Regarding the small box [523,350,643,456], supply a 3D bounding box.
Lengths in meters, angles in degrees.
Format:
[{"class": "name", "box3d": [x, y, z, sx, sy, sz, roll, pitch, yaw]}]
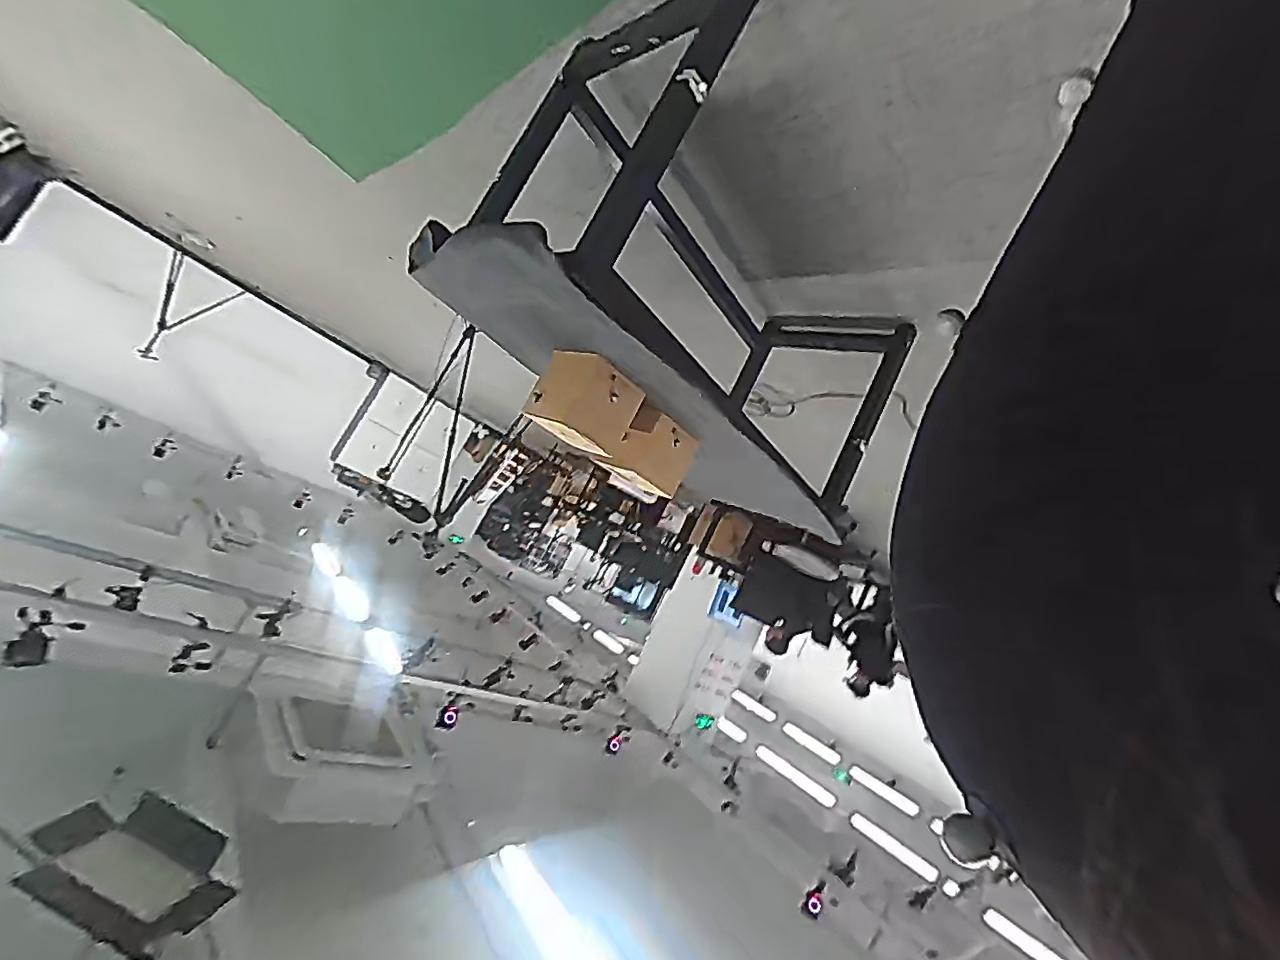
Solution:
[{"class": "small box", "box3d": [-0.126, -0.179, 1.222, 0.179, 0.176, 0.168, 18, 168, 47]}]
